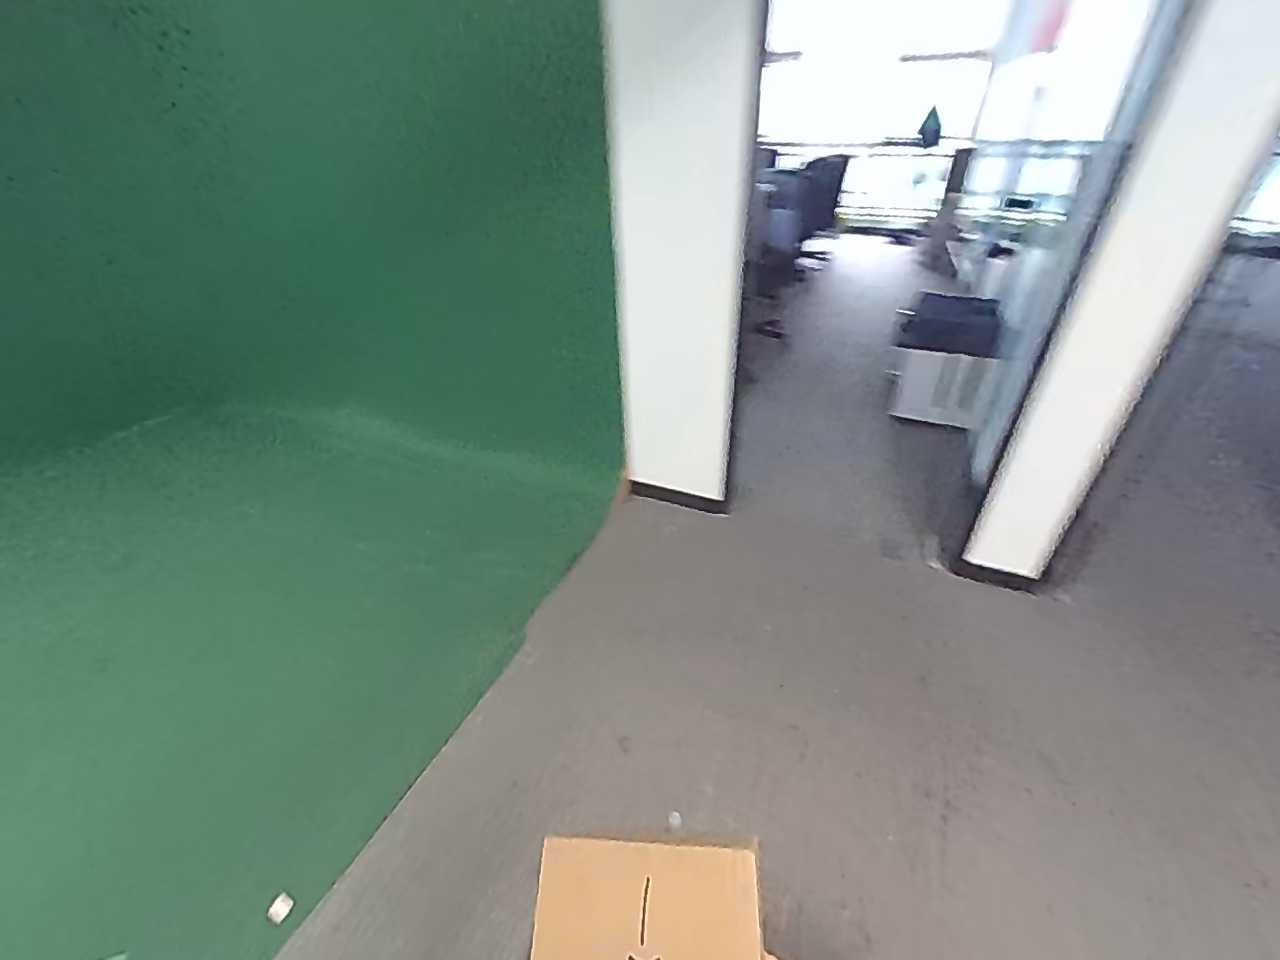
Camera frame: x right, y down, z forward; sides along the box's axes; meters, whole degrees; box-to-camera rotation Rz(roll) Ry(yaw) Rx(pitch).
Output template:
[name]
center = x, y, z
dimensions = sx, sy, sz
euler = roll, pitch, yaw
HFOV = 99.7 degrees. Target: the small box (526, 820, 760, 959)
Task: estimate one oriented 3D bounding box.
[small box]
center = 0.013, 0.389, 0.440
dimensions = 0.168, 0.176, 0.179
euler = -4, 60, 10
